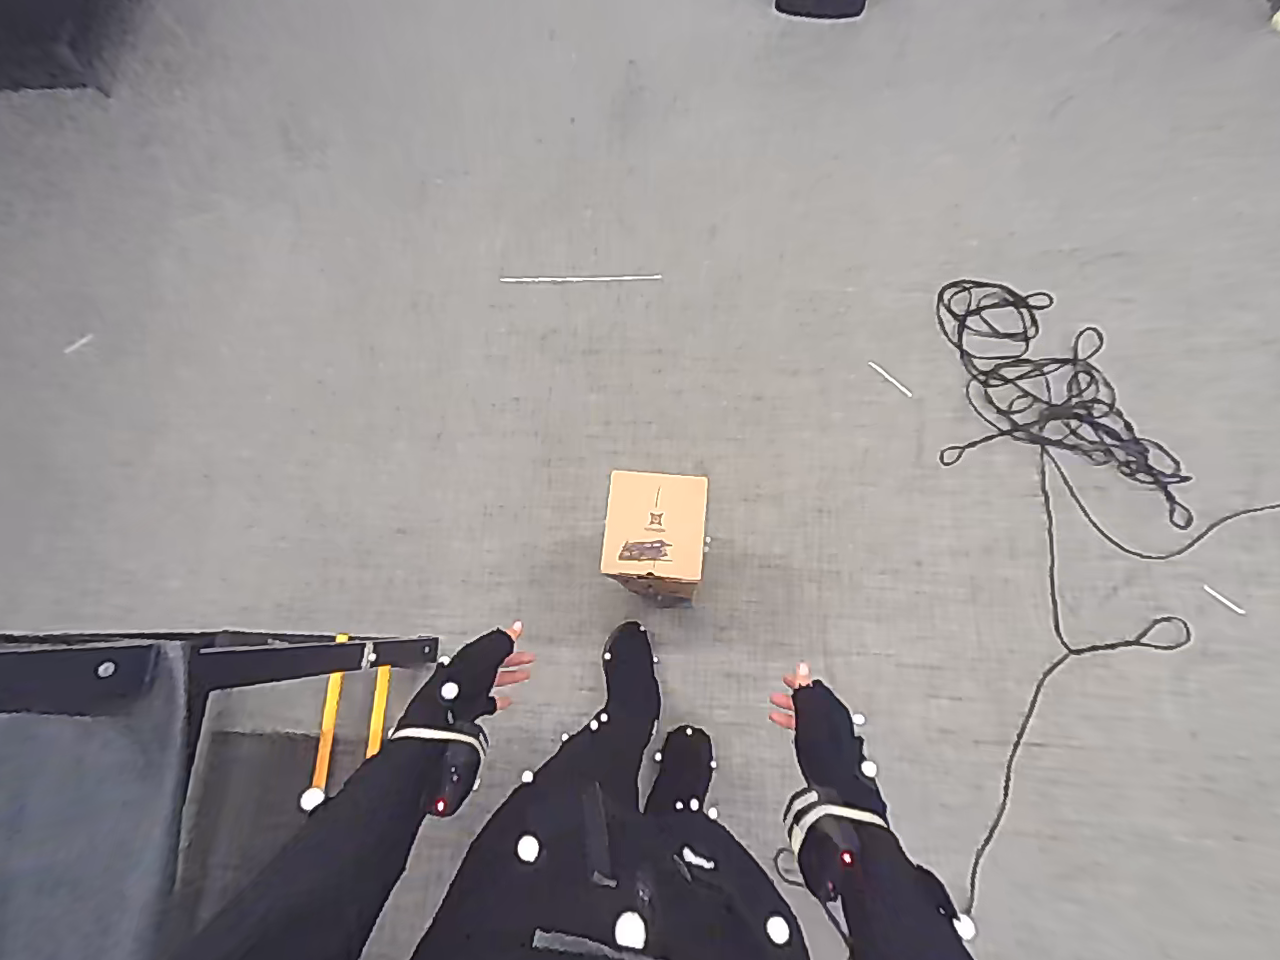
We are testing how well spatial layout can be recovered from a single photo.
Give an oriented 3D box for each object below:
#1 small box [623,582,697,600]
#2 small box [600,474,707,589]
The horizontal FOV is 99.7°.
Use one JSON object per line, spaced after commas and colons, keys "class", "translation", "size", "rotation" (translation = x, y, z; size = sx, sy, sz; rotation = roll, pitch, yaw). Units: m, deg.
{"class": "small box", "translation": [0.059, 0.184, 1.287], "size": [0.168, 0.176, 0.179], "rotation": [6, 76, 7]}
{"class": "small box", "translation": [0.031, 0.099, 0.973], "size": [0.168, 0.176, 0.179], "rotation": [5, 75, 5]}
